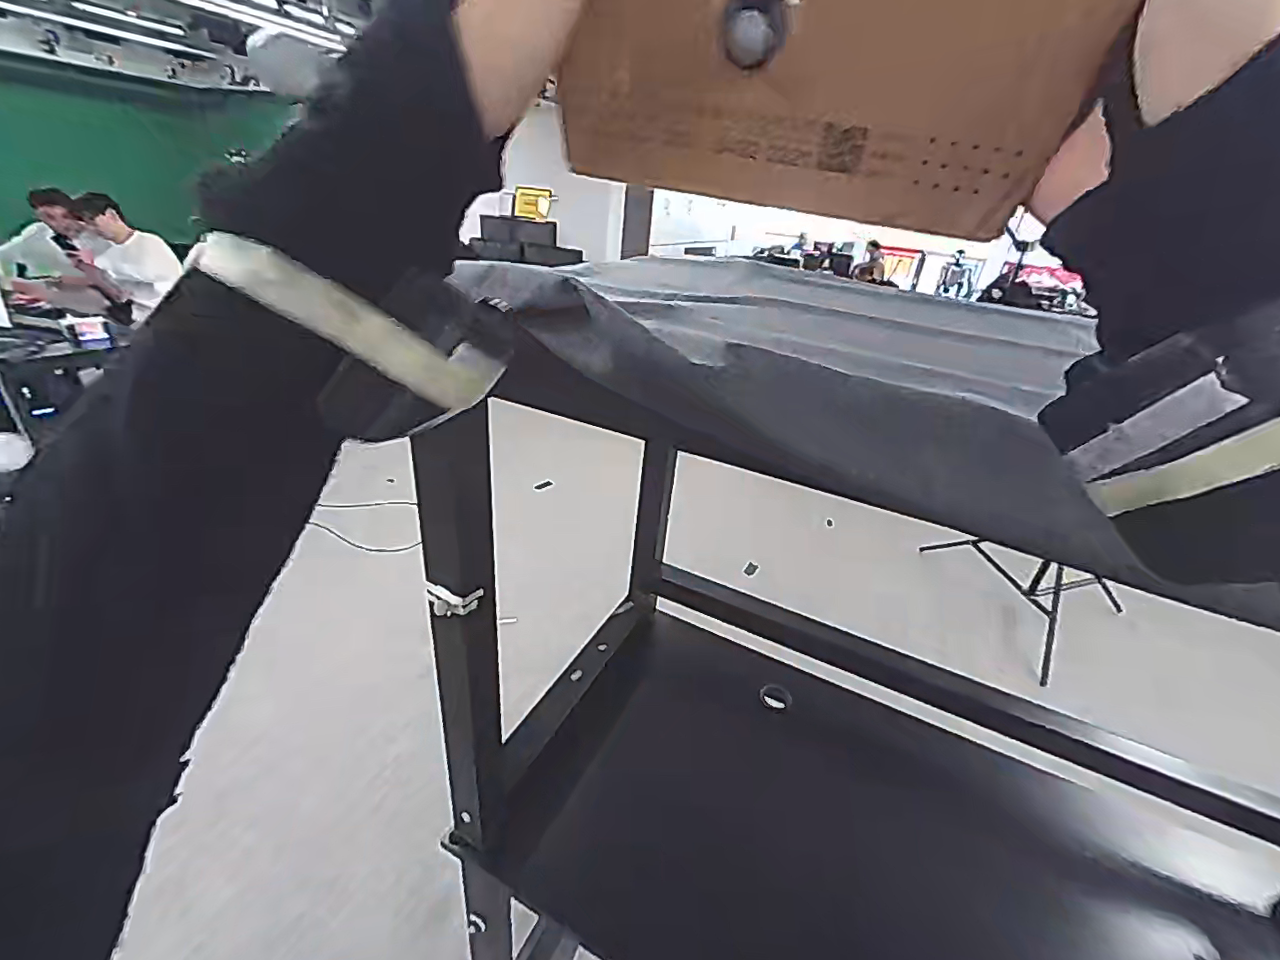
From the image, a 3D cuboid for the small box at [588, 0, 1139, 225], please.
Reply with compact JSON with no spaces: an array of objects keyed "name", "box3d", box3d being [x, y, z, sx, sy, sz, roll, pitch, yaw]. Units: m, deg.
[{"name":"small box","box3d":[0.080,-0.221,0.184,0.168,0.176,0.179,15,57,11]}]
